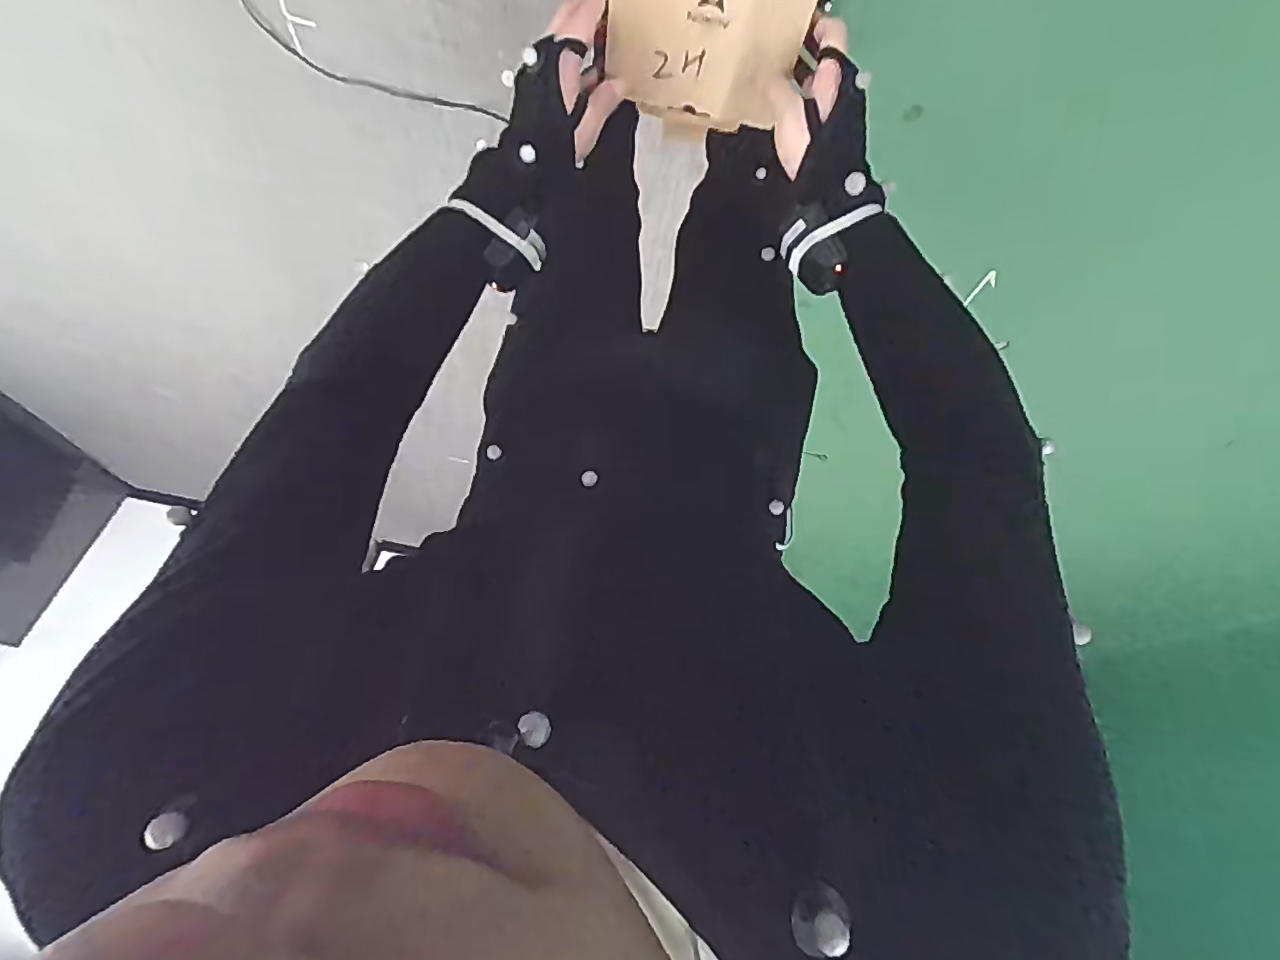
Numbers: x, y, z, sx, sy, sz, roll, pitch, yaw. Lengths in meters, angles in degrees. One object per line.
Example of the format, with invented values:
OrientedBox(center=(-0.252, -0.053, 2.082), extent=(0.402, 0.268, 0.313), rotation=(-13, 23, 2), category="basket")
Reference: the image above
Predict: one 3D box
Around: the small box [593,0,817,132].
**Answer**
OrientedBox(center=(0.067, -0.460, 0.466), extent=(0.168, 0.176, 0.179), rotation=(15, 156, -9), category="small box")
